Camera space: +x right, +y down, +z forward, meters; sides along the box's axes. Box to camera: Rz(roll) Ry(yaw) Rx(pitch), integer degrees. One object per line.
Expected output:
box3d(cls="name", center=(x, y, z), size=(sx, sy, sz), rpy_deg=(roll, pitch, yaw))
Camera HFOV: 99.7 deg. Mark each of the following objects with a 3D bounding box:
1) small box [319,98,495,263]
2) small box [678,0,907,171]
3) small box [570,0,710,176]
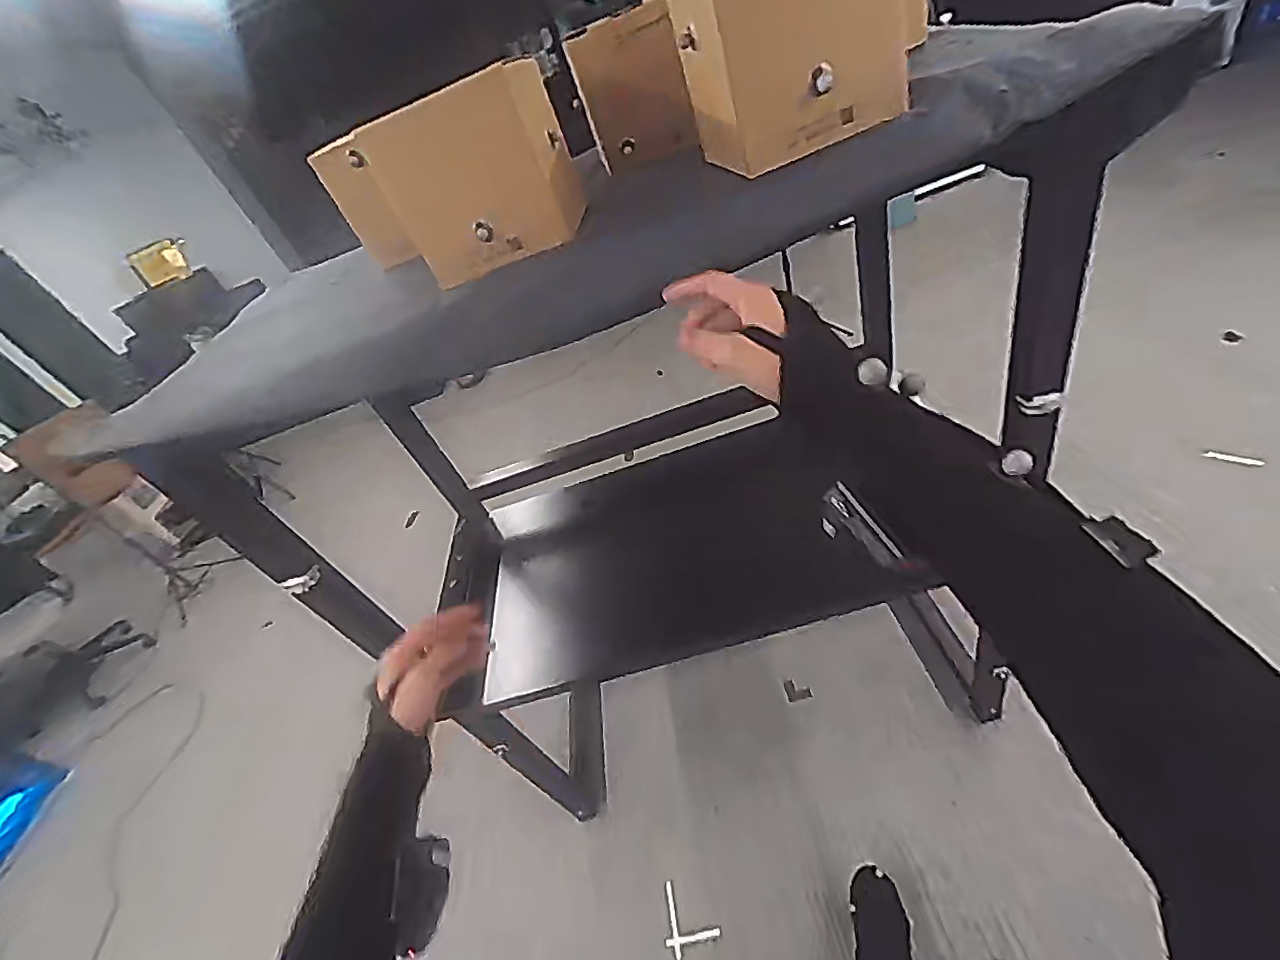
box3d(cls="small box", center=(-0.349, -0.469, 0.852), size=(0.168, 0.176, 0.179), rpy_deg=(-16, 39, 12))
box3d(cls="small box", center=(0.152, -0.441, 0.557), size=(0.168, 0.176, 0.179), rpy_deg=(-21, 36, 5))
box3d(cls="small box", center=(0.009, -0.564, 0.779), size=(0.168, 0.176, 0.179), rpy_deg=(-19, 38, 6))
